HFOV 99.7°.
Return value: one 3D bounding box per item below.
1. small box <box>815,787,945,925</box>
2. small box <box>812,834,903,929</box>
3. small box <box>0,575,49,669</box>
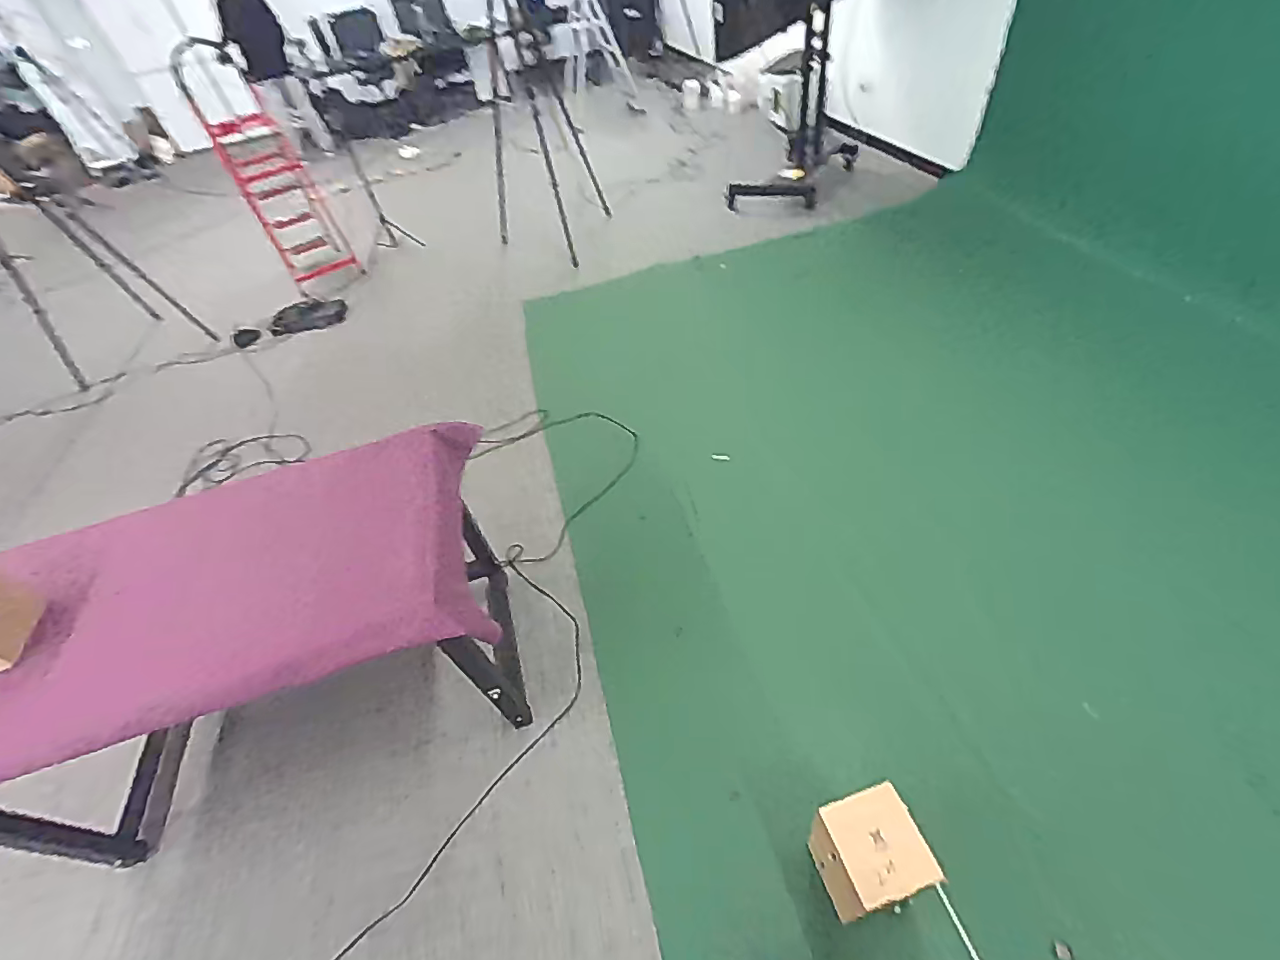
[{"bbox_3d":[0.473,0.765,1.099,0.168,0.176,0.179,-17,46,-5],"label":"small box"},{"bbox_3d":[0.501,0.878,1.216,0.179,0.176,0.168,-17,46,-6],"label":"small box"},{"bbox_3d":[-1.418,0.303,1.128,0.168,0.176,0.179,-18,47,-7],"label":"small box"}]
